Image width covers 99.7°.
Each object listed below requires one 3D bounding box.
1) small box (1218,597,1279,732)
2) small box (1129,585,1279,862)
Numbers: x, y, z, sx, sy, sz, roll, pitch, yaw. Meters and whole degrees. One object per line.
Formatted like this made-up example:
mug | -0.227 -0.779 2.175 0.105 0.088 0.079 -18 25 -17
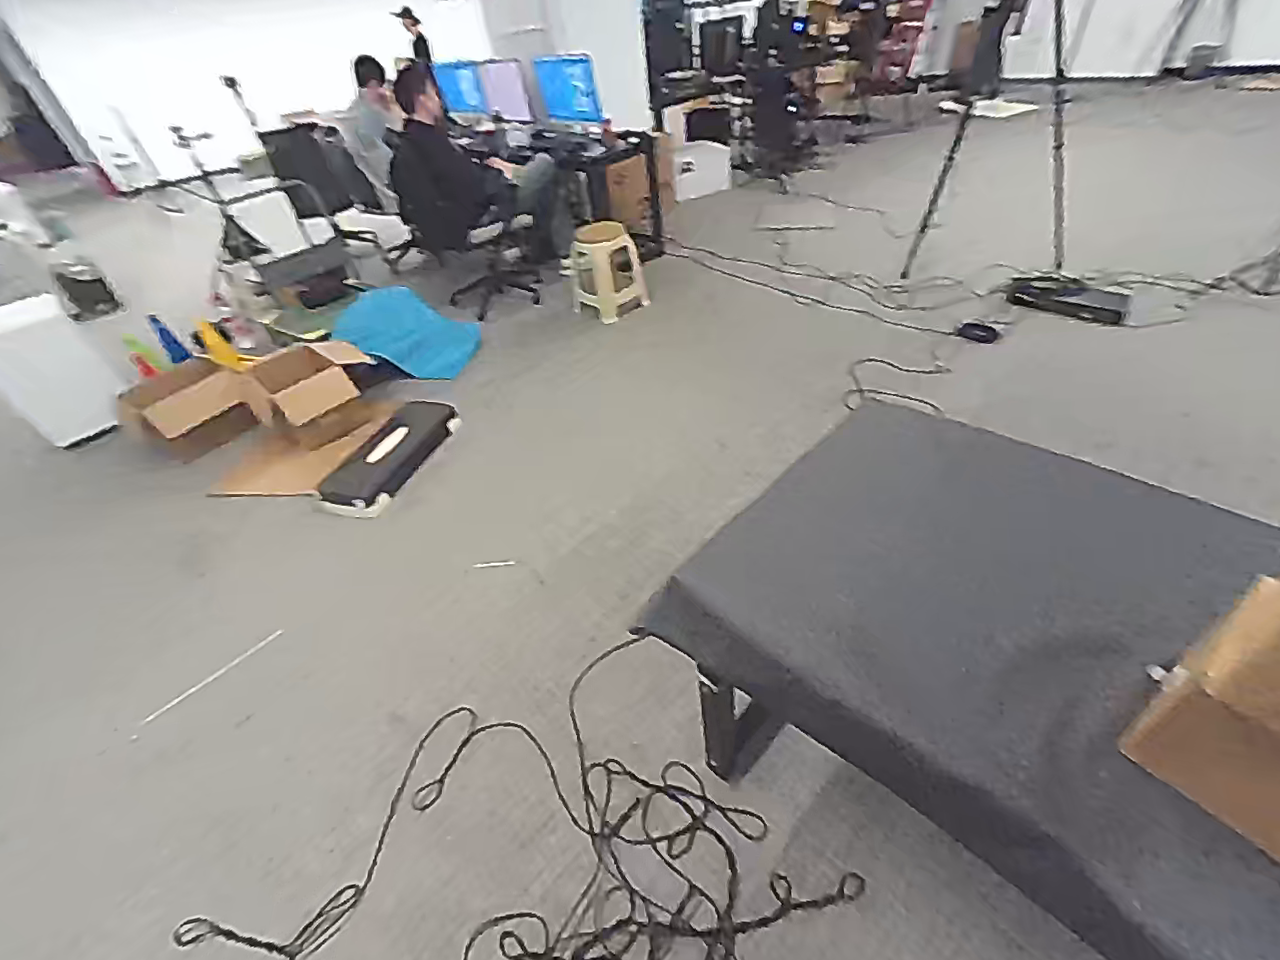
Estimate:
small box | 0.593 0.129 0.387 0.168 0.176 0.179 -28 45 -23
small box | 0.626 0.240 0.503 0.168 0.176 0.179 -29 44 -24
